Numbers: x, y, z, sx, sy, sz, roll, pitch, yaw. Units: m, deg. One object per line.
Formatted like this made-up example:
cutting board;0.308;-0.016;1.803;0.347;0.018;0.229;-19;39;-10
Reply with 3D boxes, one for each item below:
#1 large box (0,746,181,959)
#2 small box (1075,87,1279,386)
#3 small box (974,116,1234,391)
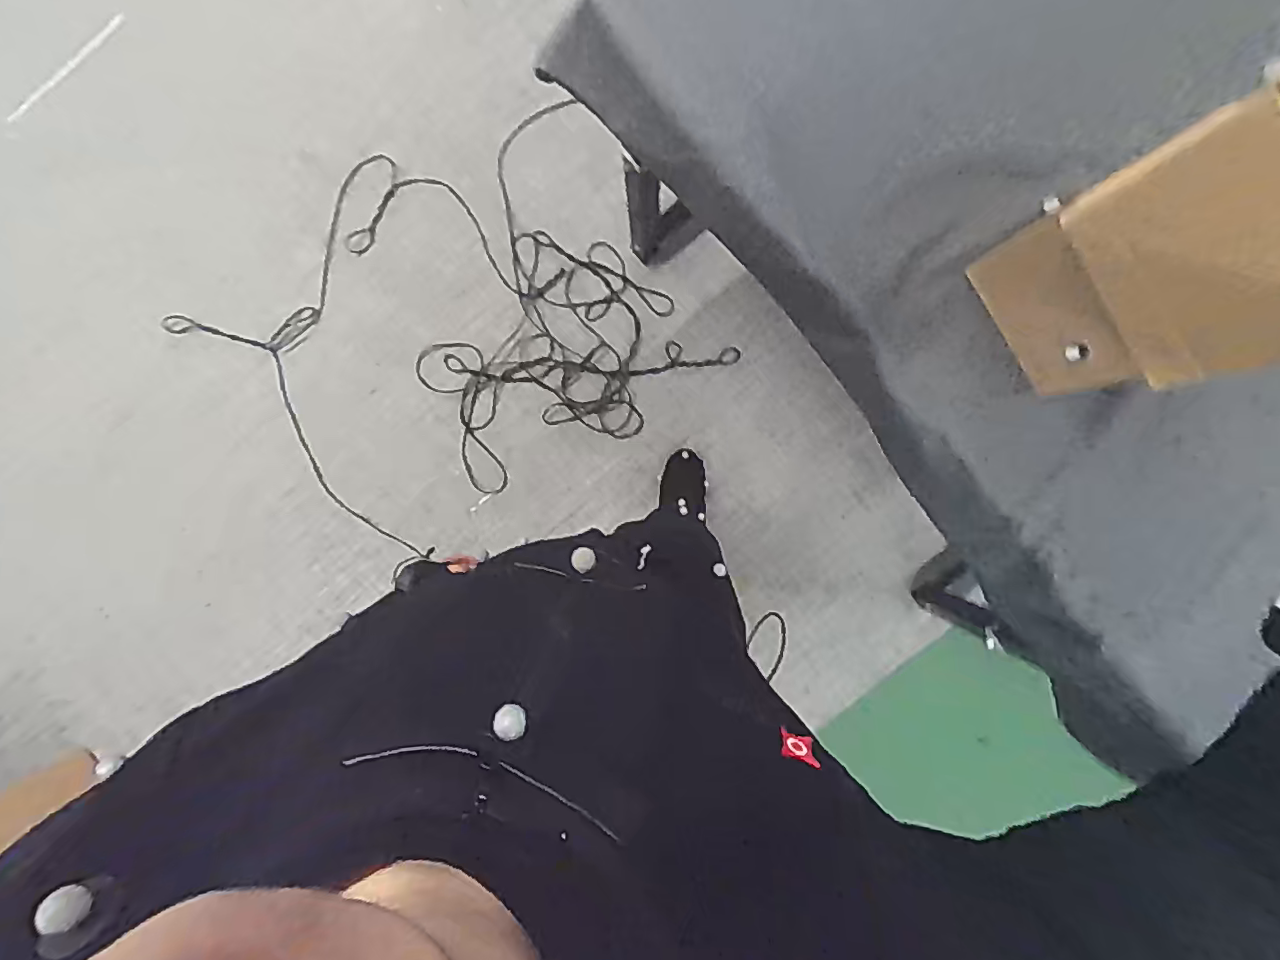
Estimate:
large box;-1.446;0.944;1.281;0.320;0.320;0.408;-40;89;1
small box;0.479;-0.189;0.390;0.168;0.176;0.179;-30;91;0
small box;0.496;-0.206;0.553;0.168;0.176;0.179;-31;90;0
